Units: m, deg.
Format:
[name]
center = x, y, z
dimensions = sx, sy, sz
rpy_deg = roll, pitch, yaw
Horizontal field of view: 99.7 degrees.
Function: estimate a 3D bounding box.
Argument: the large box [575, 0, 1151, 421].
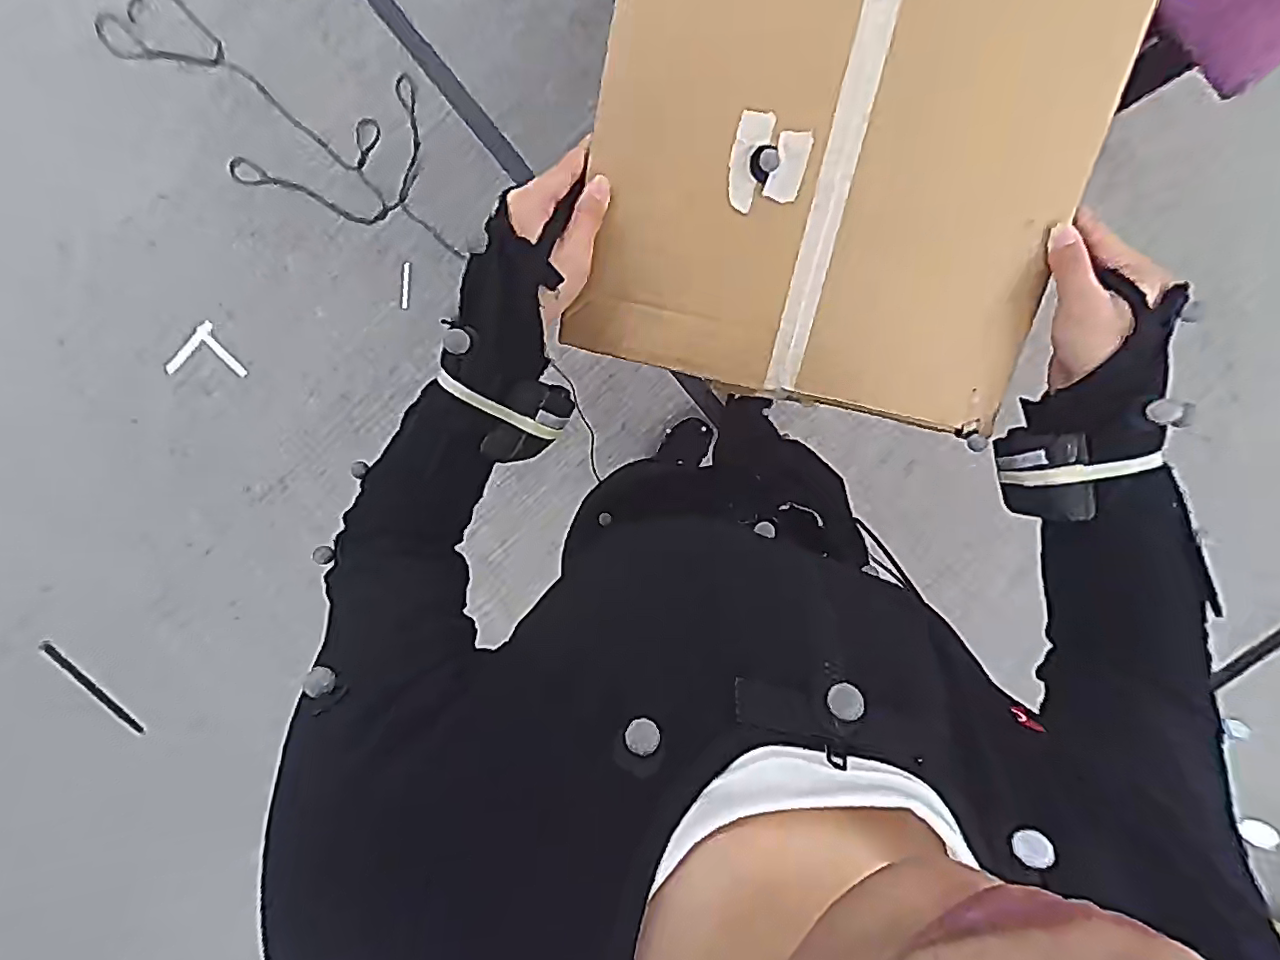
[large box]
center = 0.141, -0.295, 0.468
dimensions = 0.320, 0.320, 0.408
rpy_deg = 11, 105, 0
